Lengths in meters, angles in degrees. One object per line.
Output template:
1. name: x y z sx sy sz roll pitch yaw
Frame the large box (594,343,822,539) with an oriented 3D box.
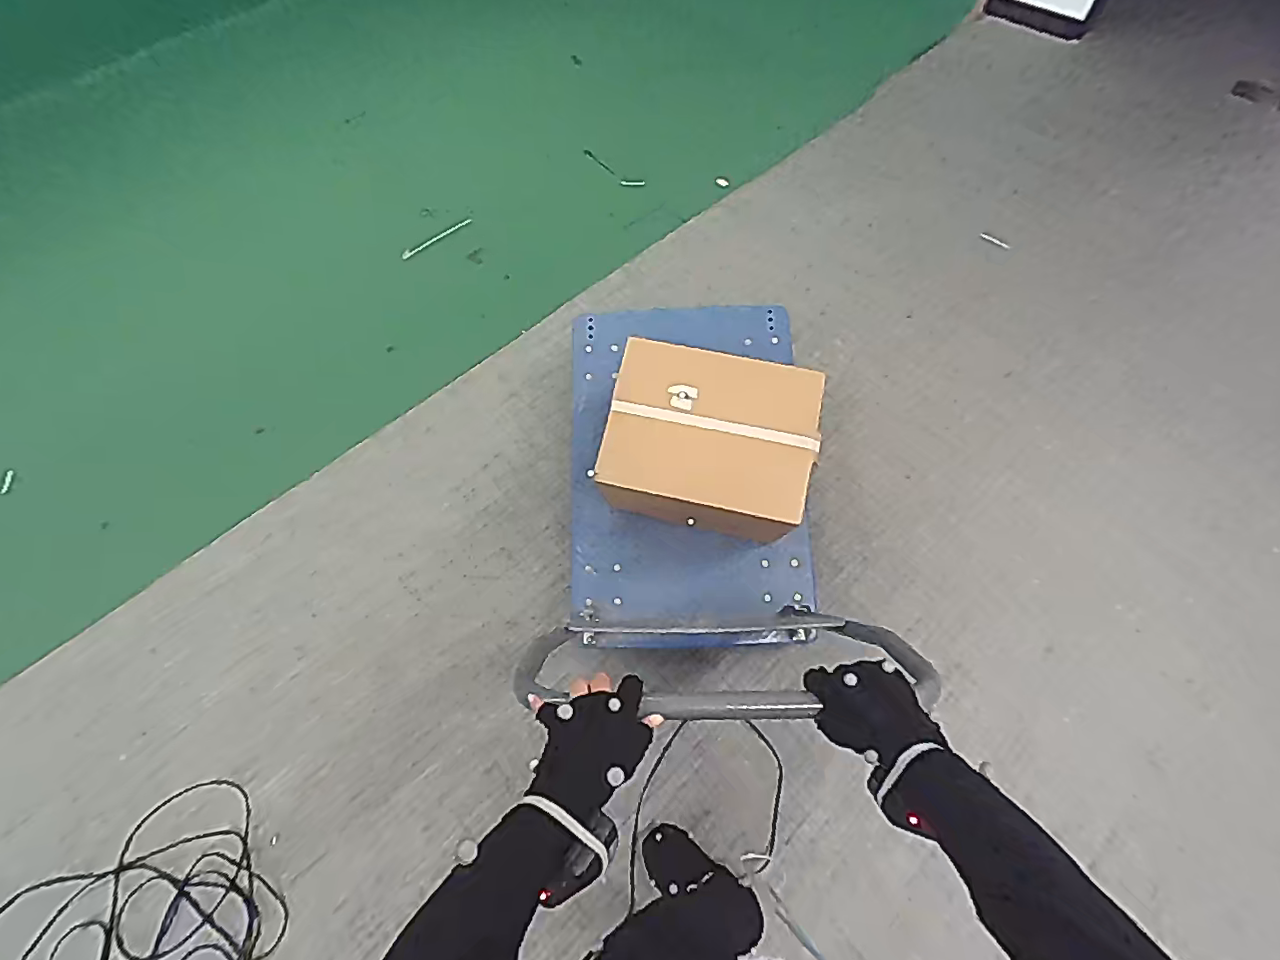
1. large box: 0.148 -0.067 1.198 0.408 0.320 0.320 12 78 7
